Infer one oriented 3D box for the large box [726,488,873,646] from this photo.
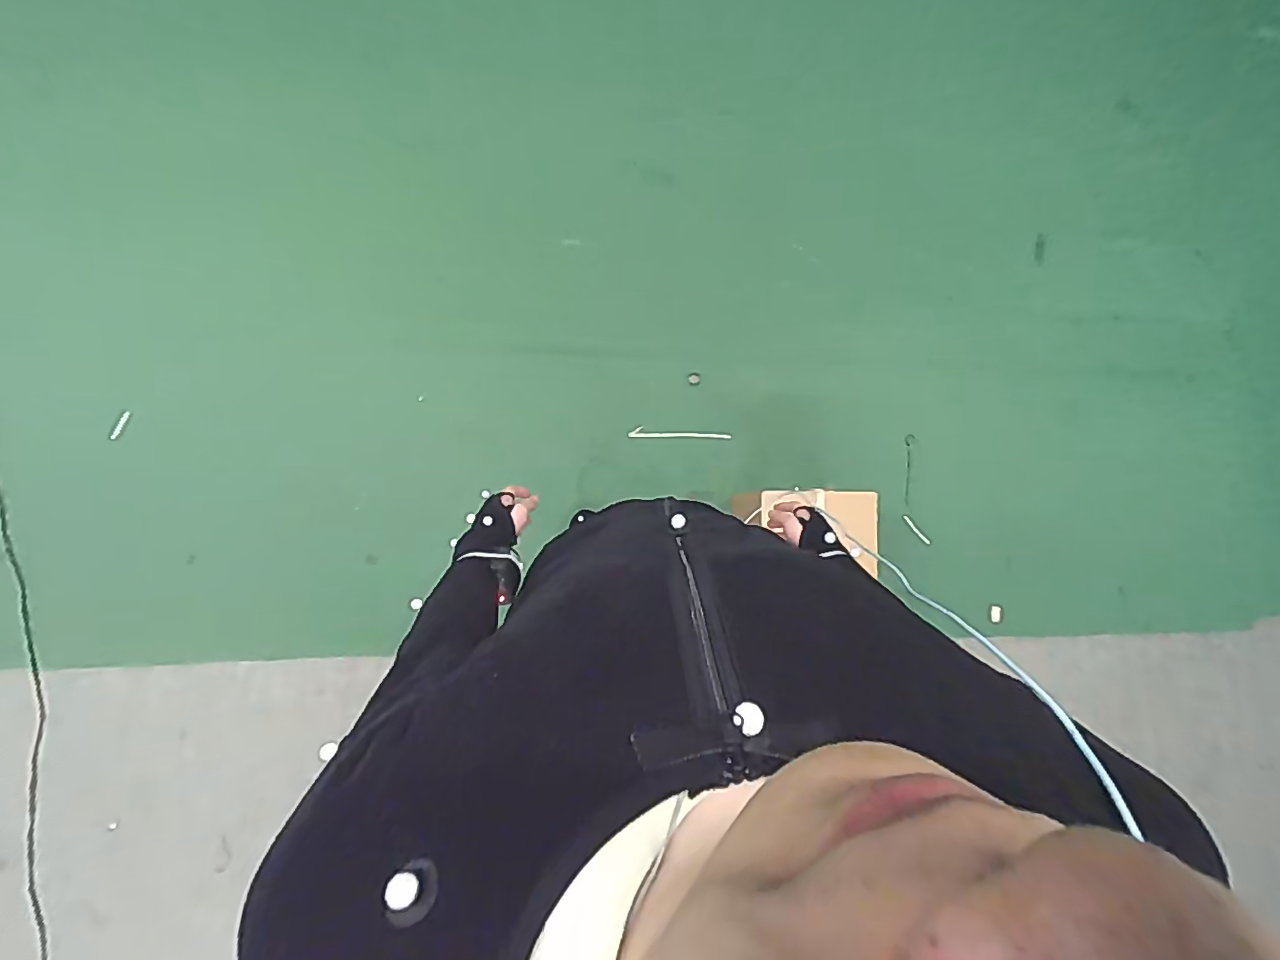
[{"bbox_3d":[0.437,0.227,1.543,0.320,0.320,0.408,1,88,-5],"label":"large box"}]
